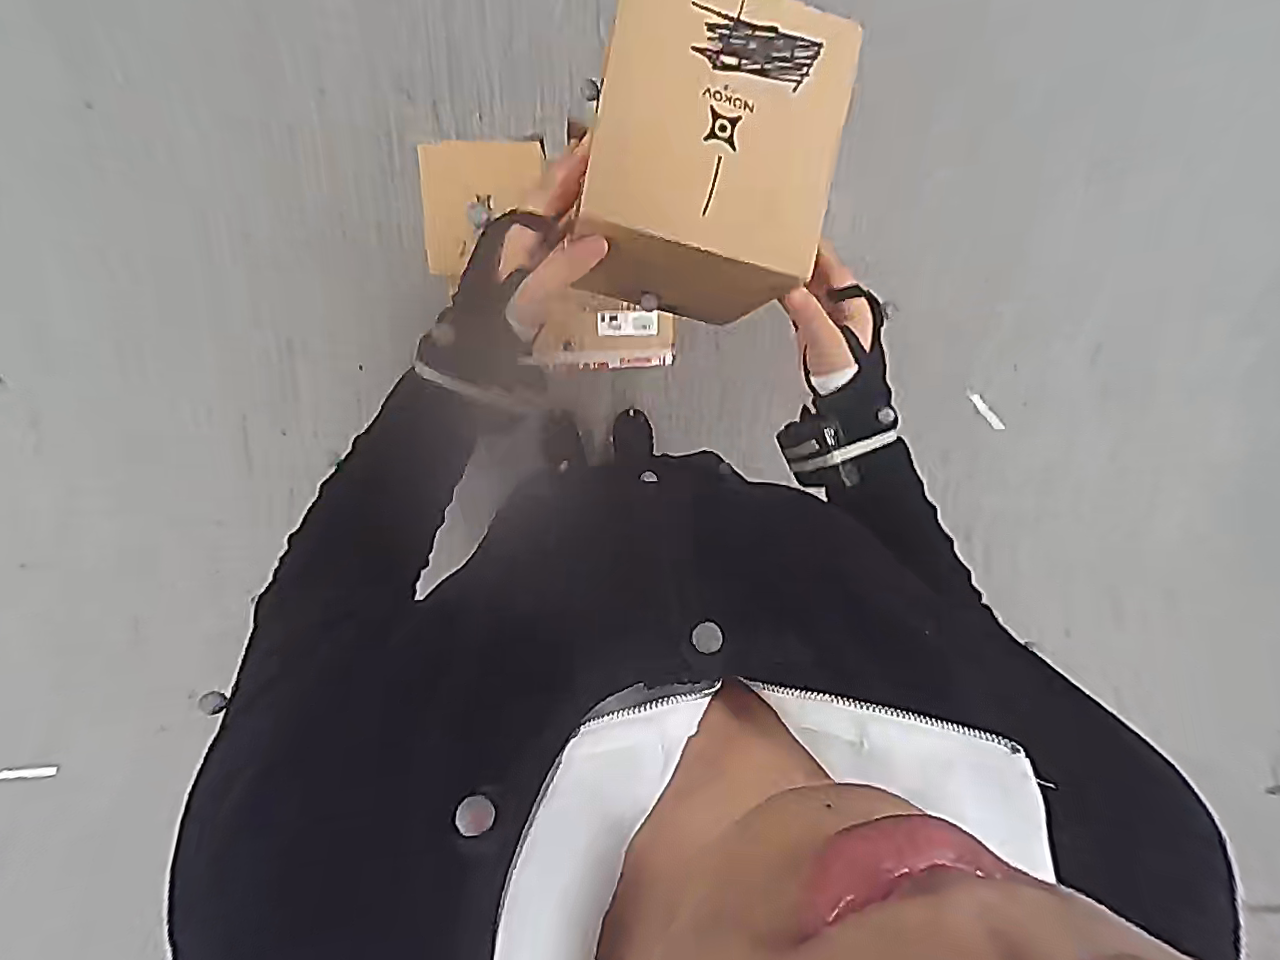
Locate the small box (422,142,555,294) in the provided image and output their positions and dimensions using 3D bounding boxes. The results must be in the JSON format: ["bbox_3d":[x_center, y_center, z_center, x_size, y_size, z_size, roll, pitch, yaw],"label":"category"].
[{"bbox_3d":[-0.223,-0.391,0.835,0.168,0.176,0.179,-2,102,-4],"label":"small box"}]
